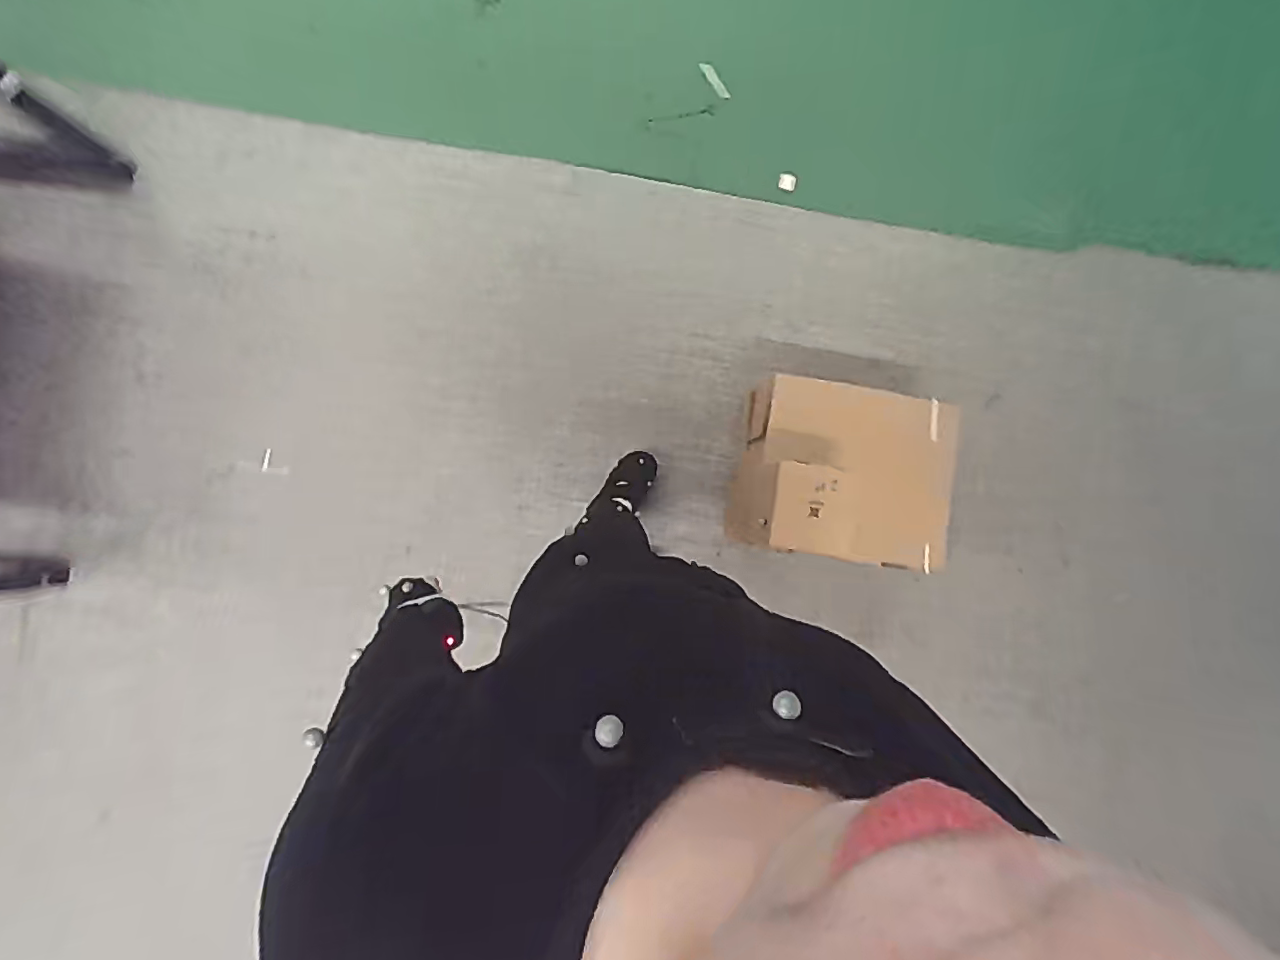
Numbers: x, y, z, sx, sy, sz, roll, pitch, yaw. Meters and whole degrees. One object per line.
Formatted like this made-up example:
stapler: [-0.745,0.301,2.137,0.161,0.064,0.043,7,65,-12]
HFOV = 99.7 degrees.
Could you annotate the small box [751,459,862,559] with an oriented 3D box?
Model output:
small box: [0.340,0.061,1.138,0.168,0.176,0.179,10,86,-3]
